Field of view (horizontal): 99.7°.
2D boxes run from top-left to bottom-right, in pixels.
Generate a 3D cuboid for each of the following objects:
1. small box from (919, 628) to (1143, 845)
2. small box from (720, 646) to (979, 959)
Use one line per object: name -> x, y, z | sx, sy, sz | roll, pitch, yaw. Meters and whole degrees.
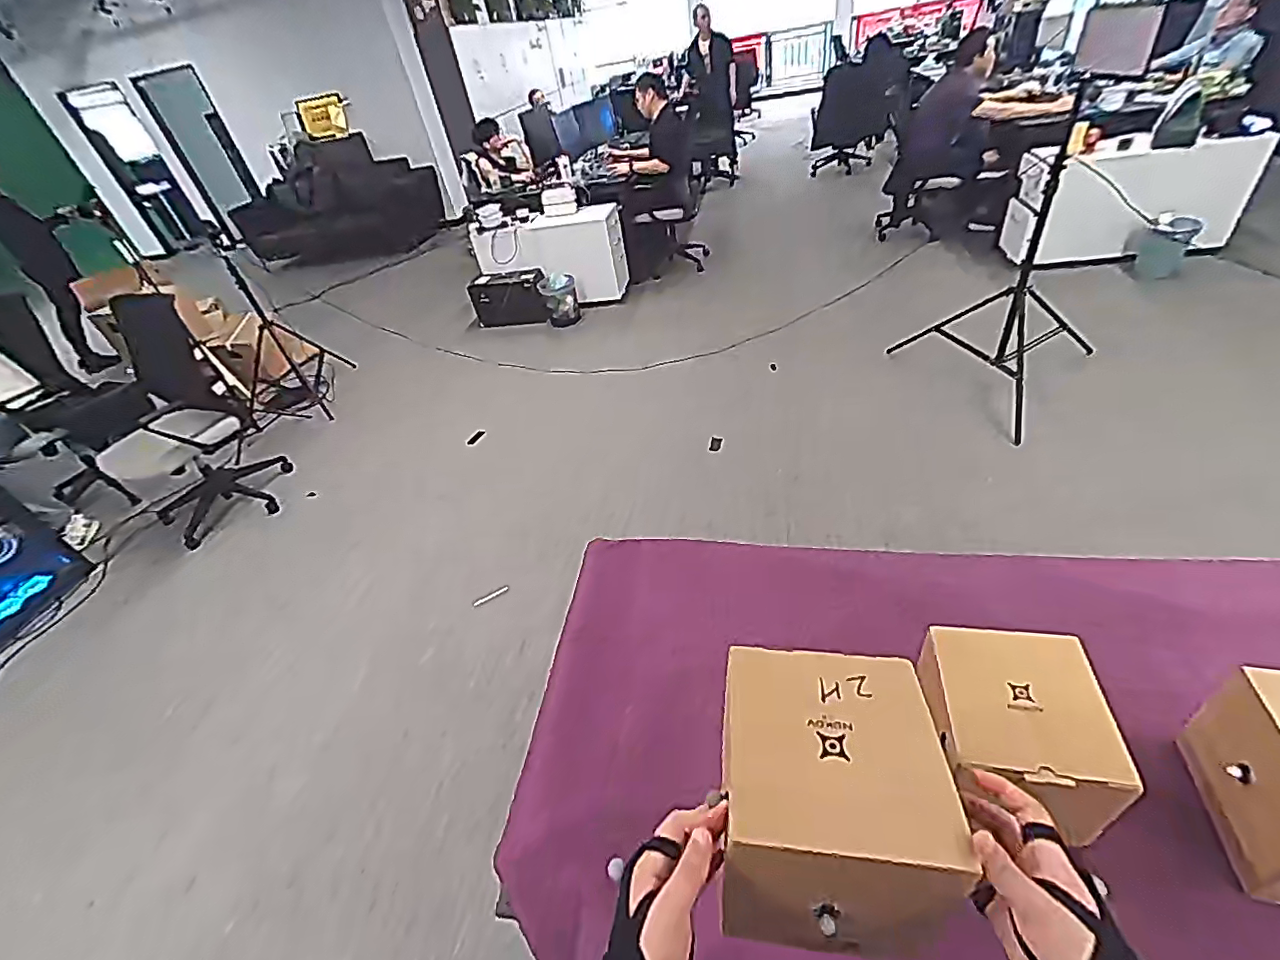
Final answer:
small box -> 0.443, 0.308, 0.660 | 0.168, 0.176, 0.179 | 1, 41, 15
small box -> 0.158, 0.275, 0.472 | 0.168, 0.176, 0.179 | 3, 31, 9
